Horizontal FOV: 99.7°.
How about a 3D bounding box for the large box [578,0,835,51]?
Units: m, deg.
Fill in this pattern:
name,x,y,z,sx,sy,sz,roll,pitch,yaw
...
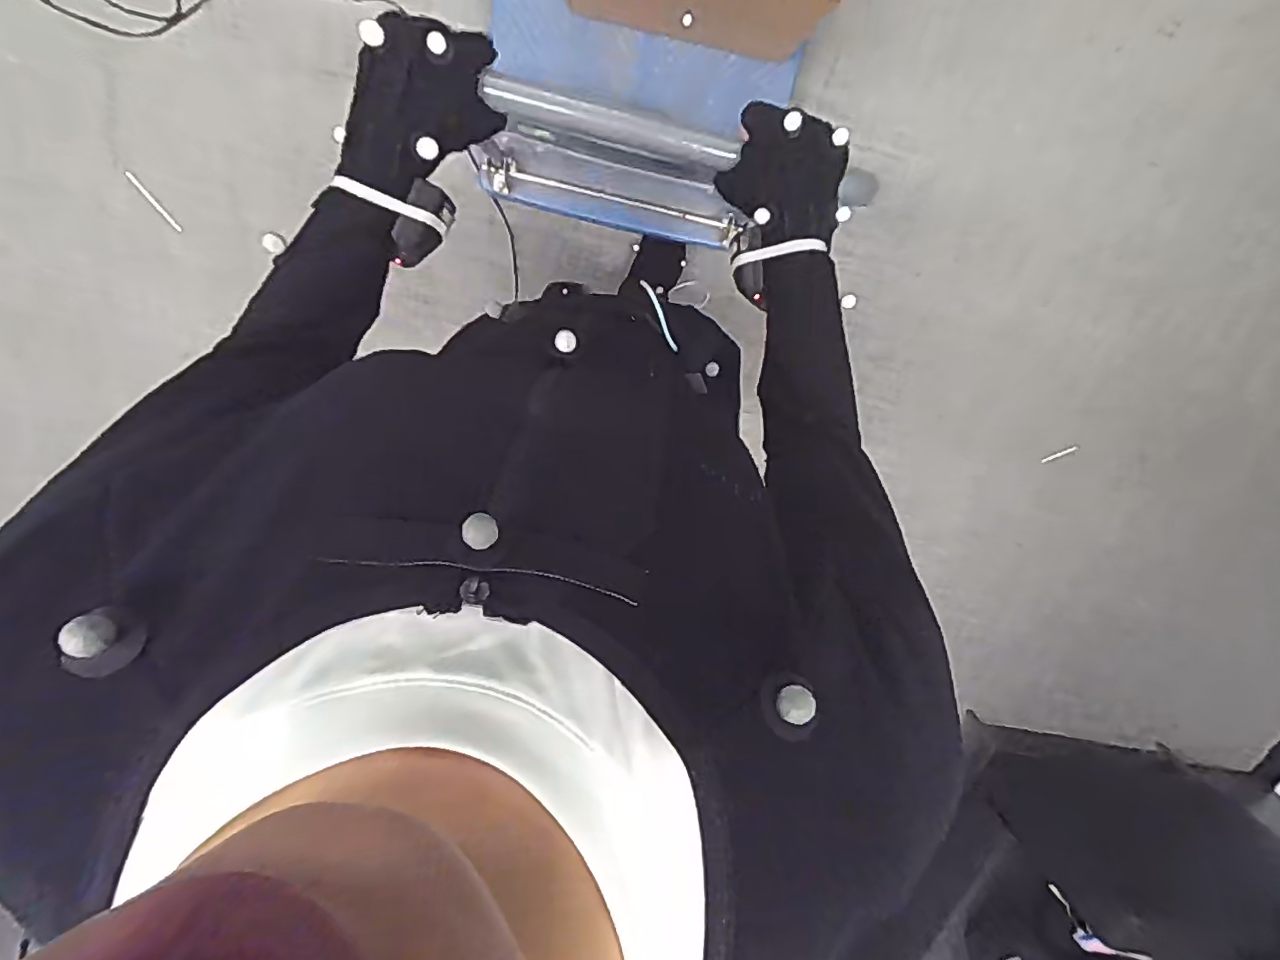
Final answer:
name,x,y,z,sx,sy,sz,roll,pitch,yaw
large box,0.109,-0.903,0.815,0.408,0.320,0.320,8,114,-4
